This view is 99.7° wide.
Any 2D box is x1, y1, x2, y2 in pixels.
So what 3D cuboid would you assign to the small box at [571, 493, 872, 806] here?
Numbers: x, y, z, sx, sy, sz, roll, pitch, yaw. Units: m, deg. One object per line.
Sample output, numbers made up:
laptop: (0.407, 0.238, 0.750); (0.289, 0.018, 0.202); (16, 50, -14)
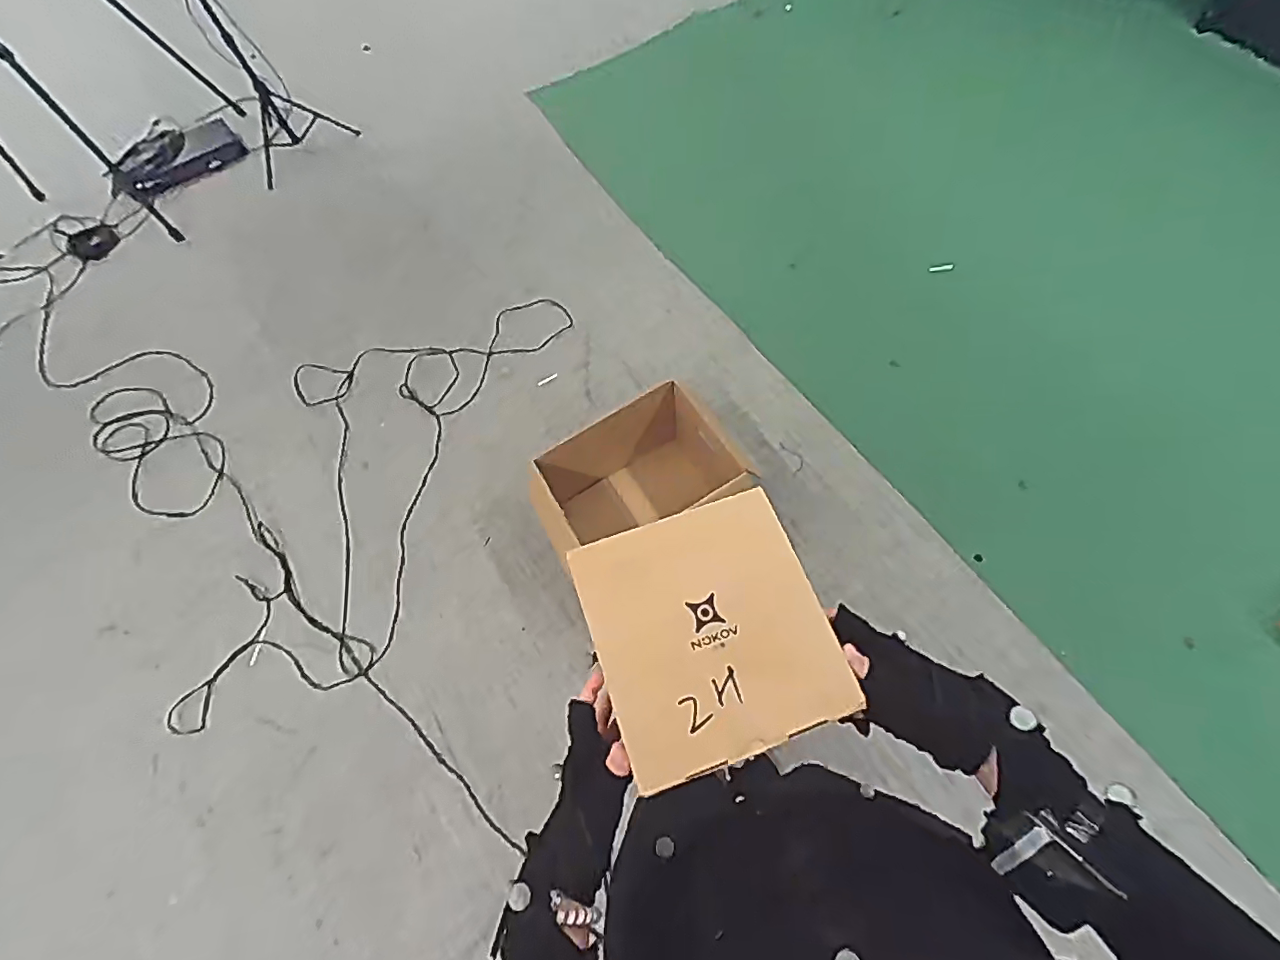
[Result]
small box: (0.050, 0.139, 0.449); (0.168, 0.176, 0.179); (-18, 68, -7)
